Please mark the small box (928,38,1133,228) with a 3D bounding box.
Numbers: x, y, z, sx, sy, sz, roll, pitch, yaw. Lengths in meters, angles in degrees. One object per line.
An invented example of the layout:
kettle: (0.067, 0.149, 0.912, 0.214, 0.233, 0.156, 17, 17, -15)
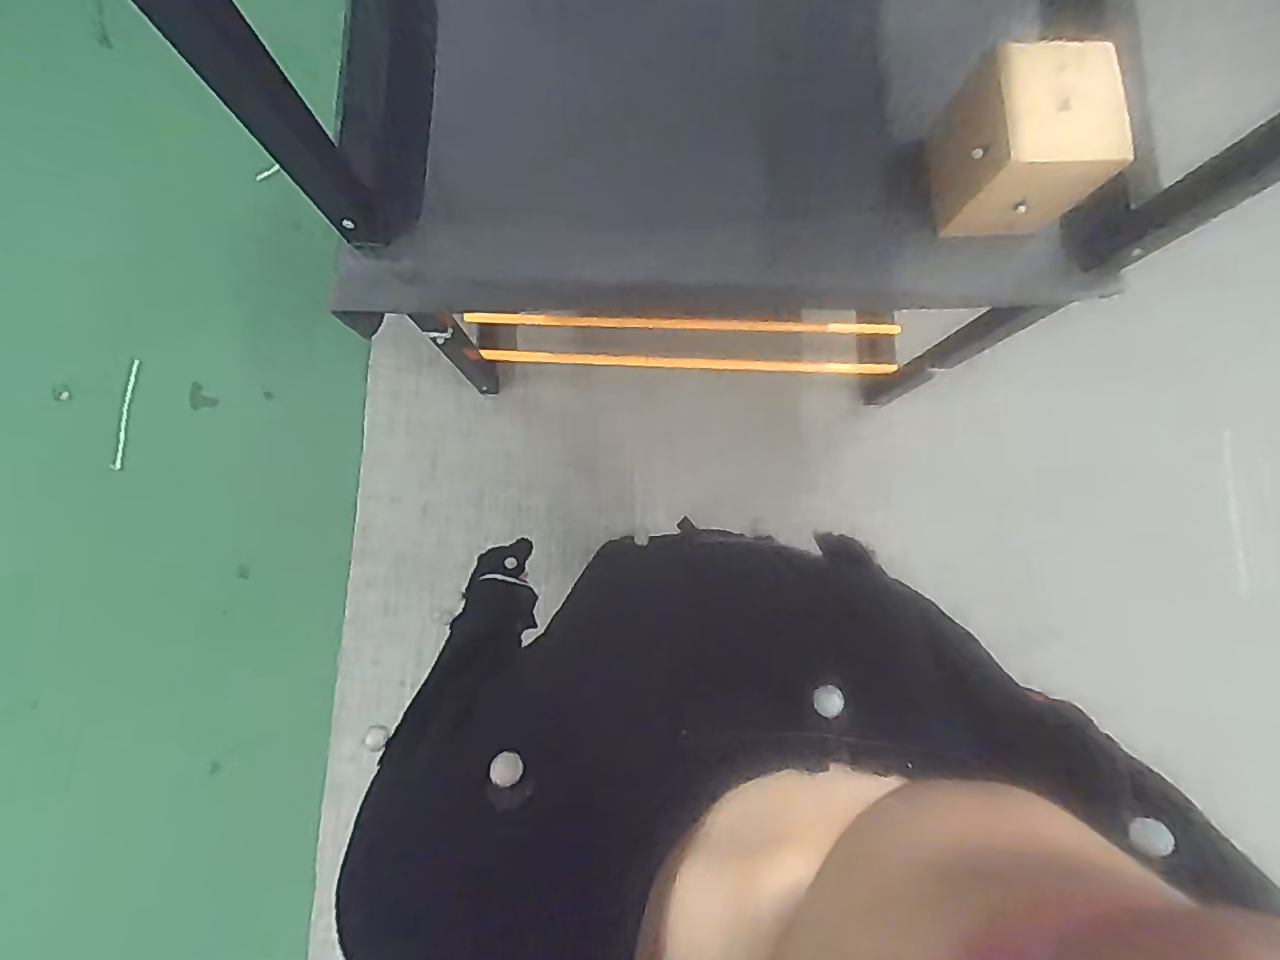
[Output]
small box: (0.548, -0.487, 0.784, 0.168, 0.176, 0.179, -2, 82, -2)
